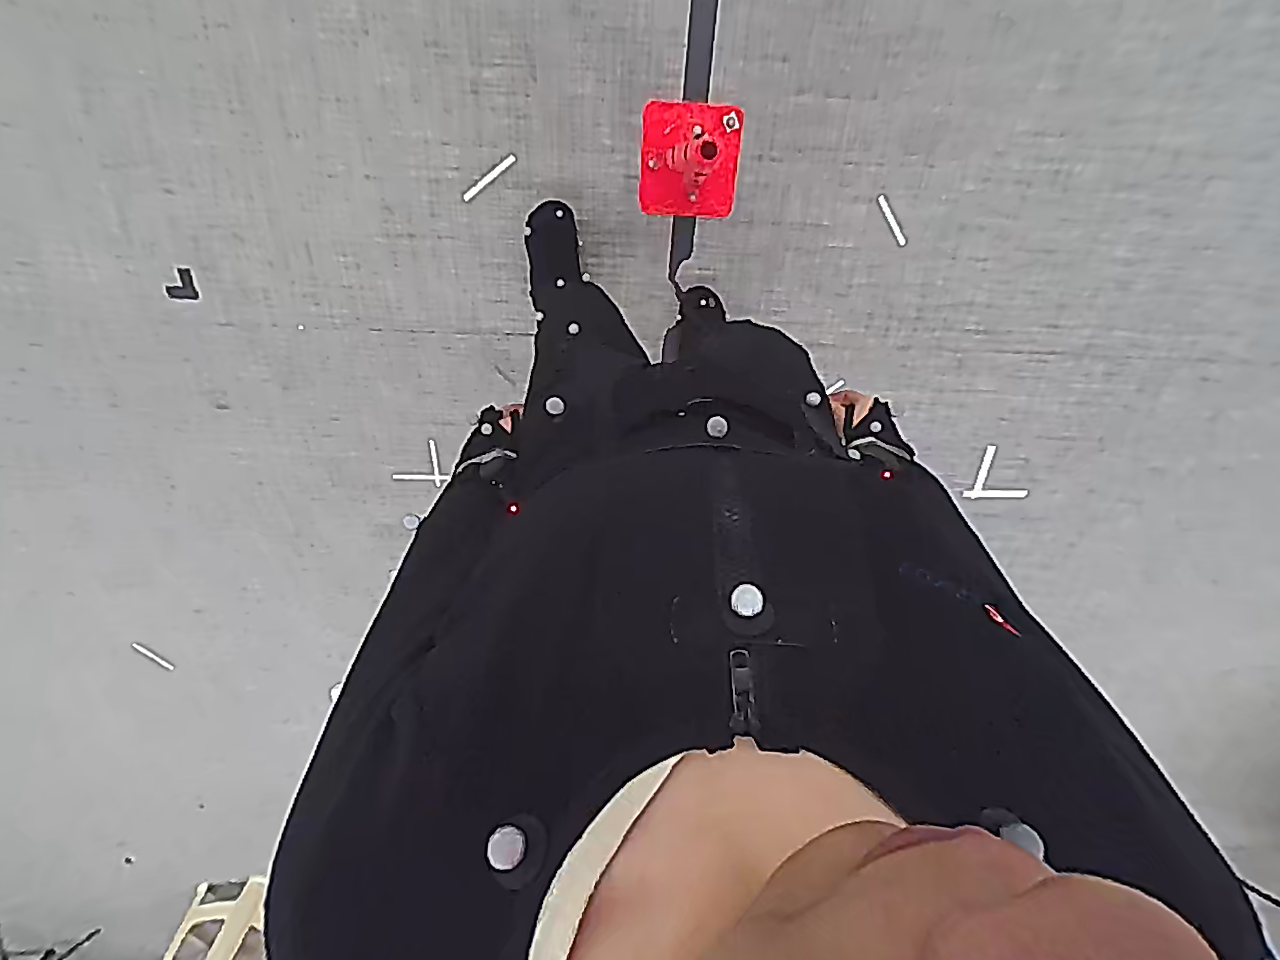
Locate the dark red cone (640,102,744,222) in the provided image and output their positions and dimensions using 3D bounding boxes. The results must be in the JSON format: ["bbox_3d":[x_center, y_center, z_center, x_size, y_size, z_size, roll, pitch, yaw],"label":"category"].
[{"bbox_3d":[0.099,-0.552,0.934,0.201,0.394,0.202,2,118,0],"label":"dark red cone"}]
